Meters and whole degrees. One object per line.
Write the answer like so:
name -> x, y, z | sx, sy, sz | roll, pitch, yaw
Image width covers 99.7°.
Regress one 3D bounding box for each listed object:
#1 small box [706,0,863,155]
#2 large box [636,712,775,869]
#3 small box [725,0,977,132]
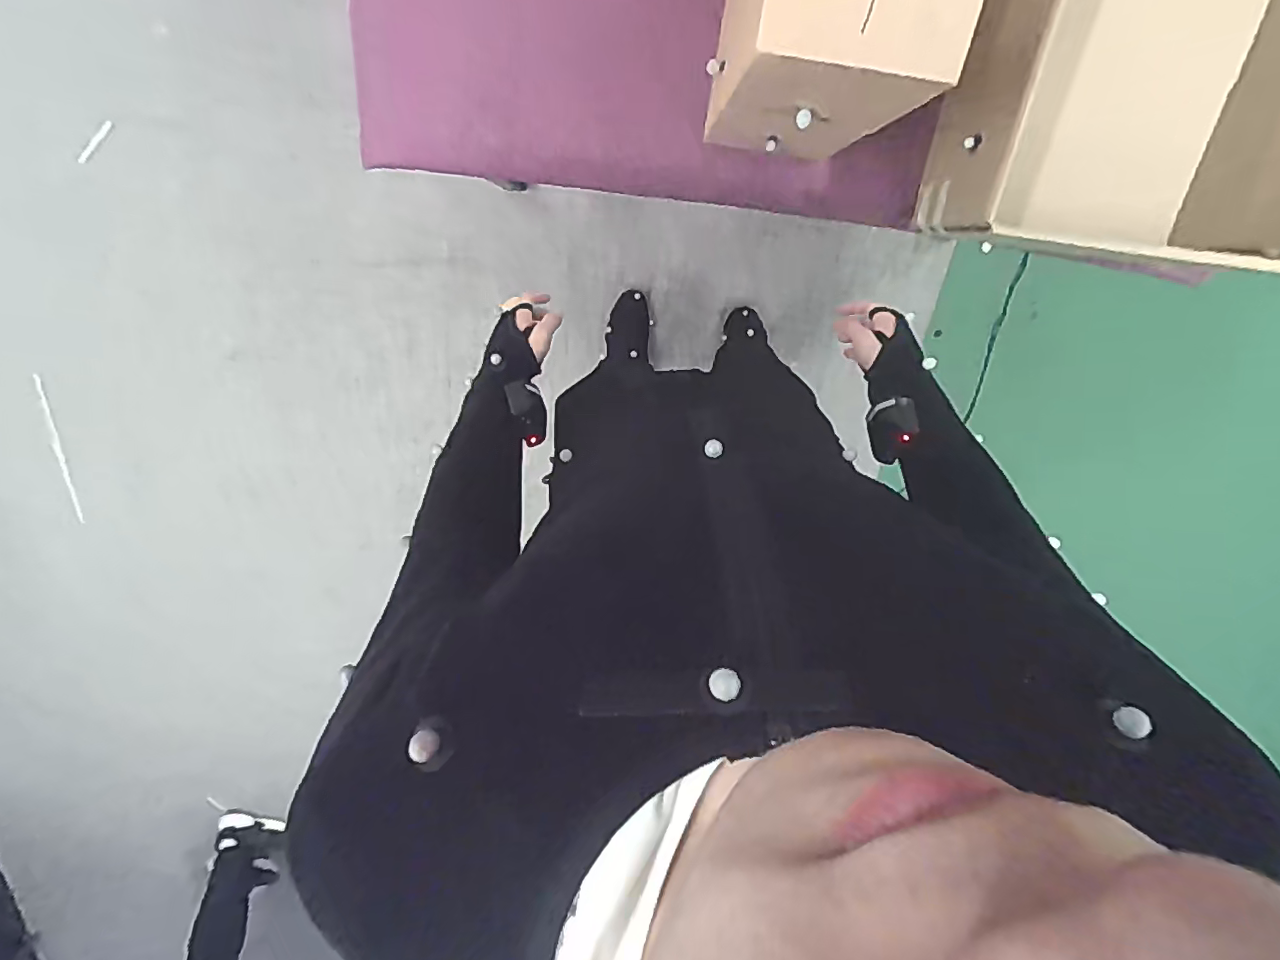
small box -> 0.175, -0.491, 0.618 | 0.168, 0.176, 0.179 | 7, 112, -4
large box -> 0.229, 1.144, 2.006 | 0.408, 0.320, 0.320 | -24, 111, 8
small box -> 0.177, -0.430, 0.466 | 0.168, 0.176, 0.179 | 8, 112, -3
